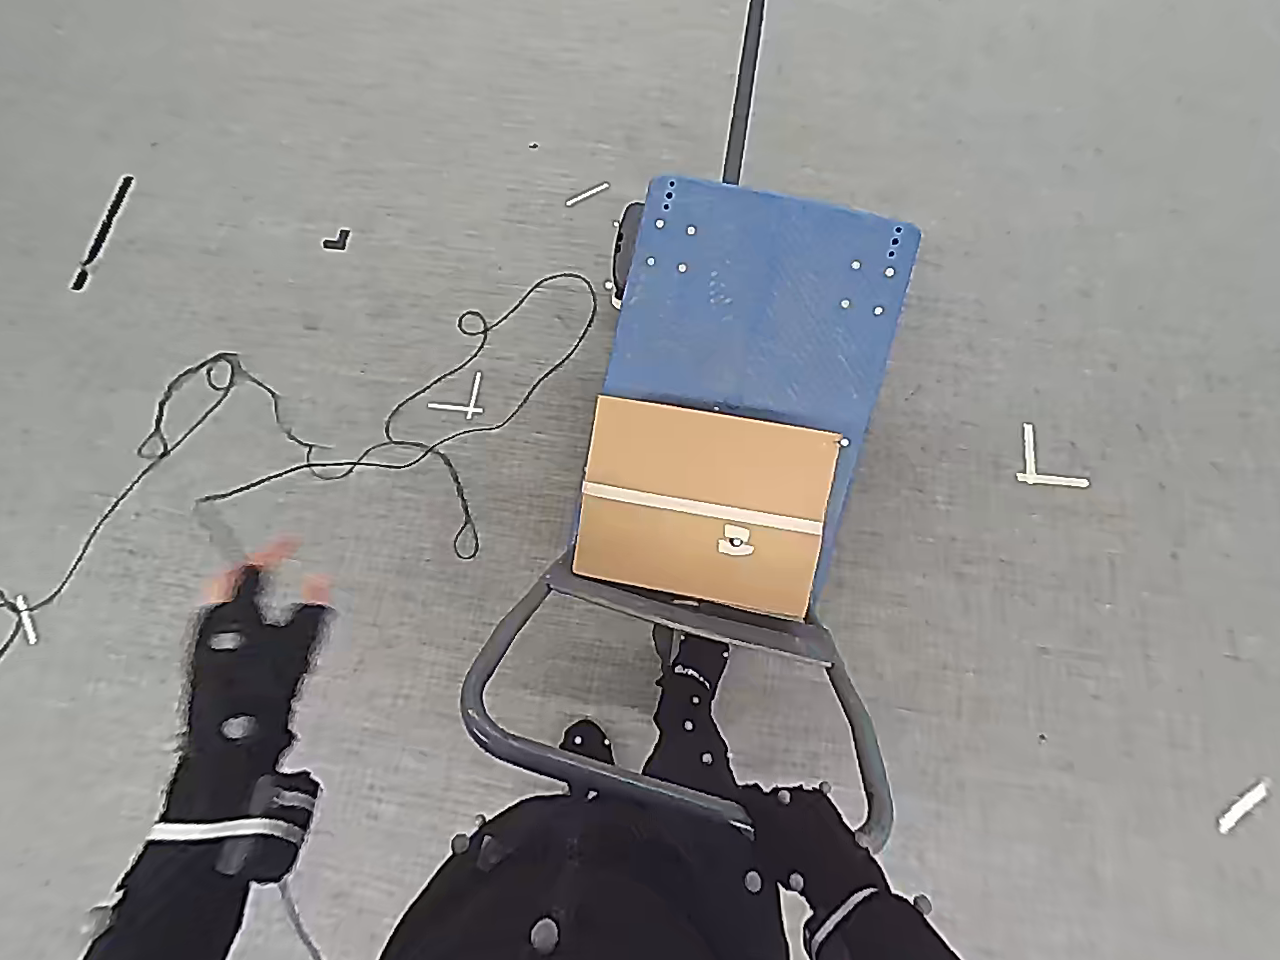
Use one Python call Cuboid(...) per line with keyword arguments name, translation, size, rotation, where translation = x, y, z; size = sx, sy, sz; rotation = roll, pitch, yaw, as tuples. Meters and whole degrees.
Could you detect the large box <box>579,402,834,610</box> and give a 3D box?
Cuboid(name="large box", translation=(0.119, 0.031, 1.075), size=(0.408, 0.320, 0.320), rotation=(10, 97, 4))
